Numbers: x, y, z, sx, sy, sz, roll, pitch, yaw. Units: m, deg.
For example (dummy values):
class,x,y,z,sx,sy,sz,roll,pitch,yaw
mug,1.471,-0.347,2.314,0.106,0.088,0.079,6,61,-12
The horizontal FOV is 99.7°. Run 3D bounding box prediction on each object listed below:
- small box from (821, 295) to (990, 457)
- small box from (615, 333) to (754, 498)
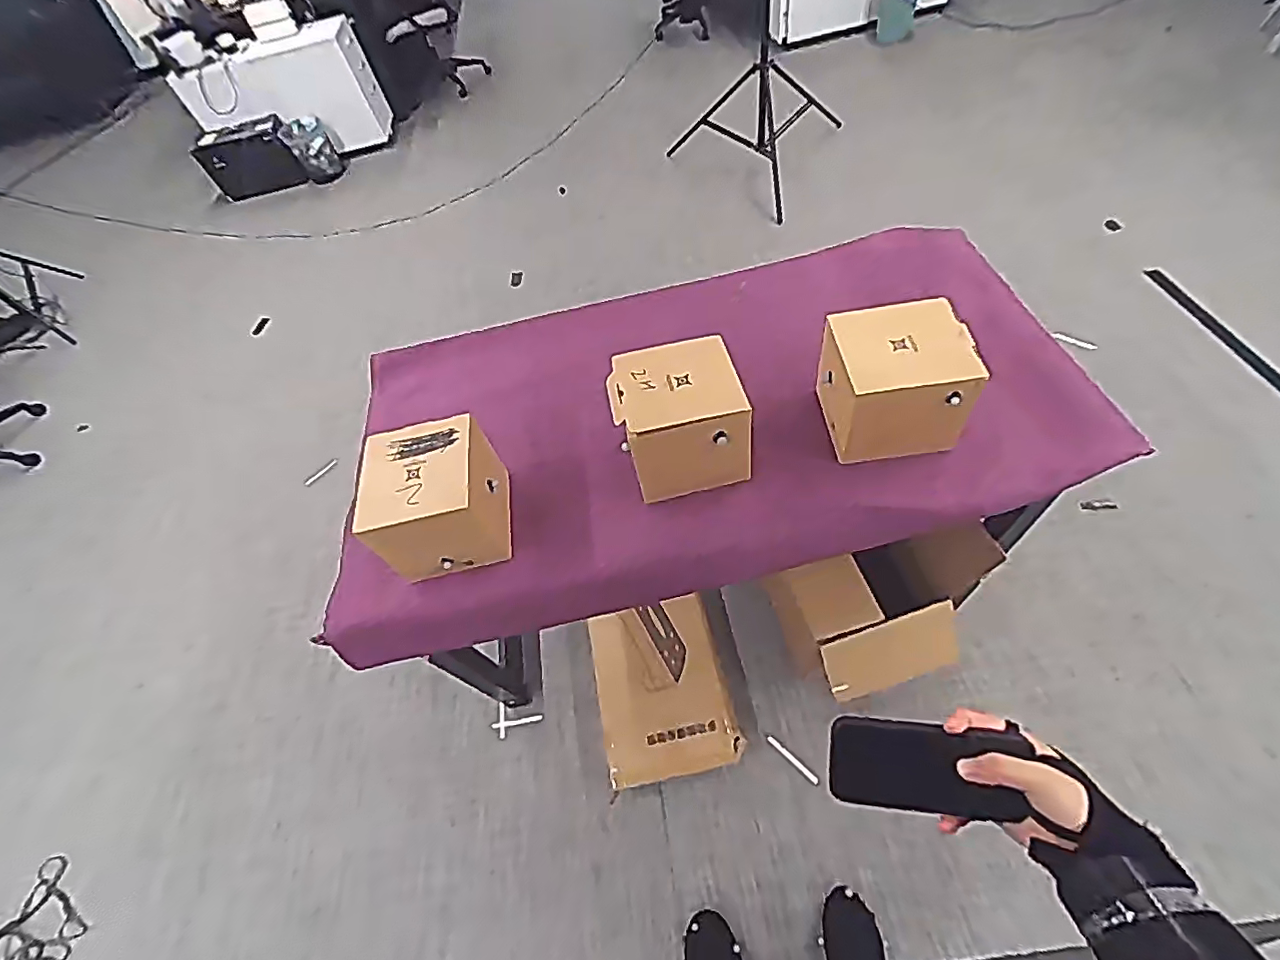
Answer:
class,x,y,z,sx,sy,sz,roll,pitch,yaw
small box,0.382,-0.150,0.823,0.179,0.176,0.168,-8,56,5
small box,0.069,-0.095,0.844,0.179,0.176,0.168,-14,53,2
